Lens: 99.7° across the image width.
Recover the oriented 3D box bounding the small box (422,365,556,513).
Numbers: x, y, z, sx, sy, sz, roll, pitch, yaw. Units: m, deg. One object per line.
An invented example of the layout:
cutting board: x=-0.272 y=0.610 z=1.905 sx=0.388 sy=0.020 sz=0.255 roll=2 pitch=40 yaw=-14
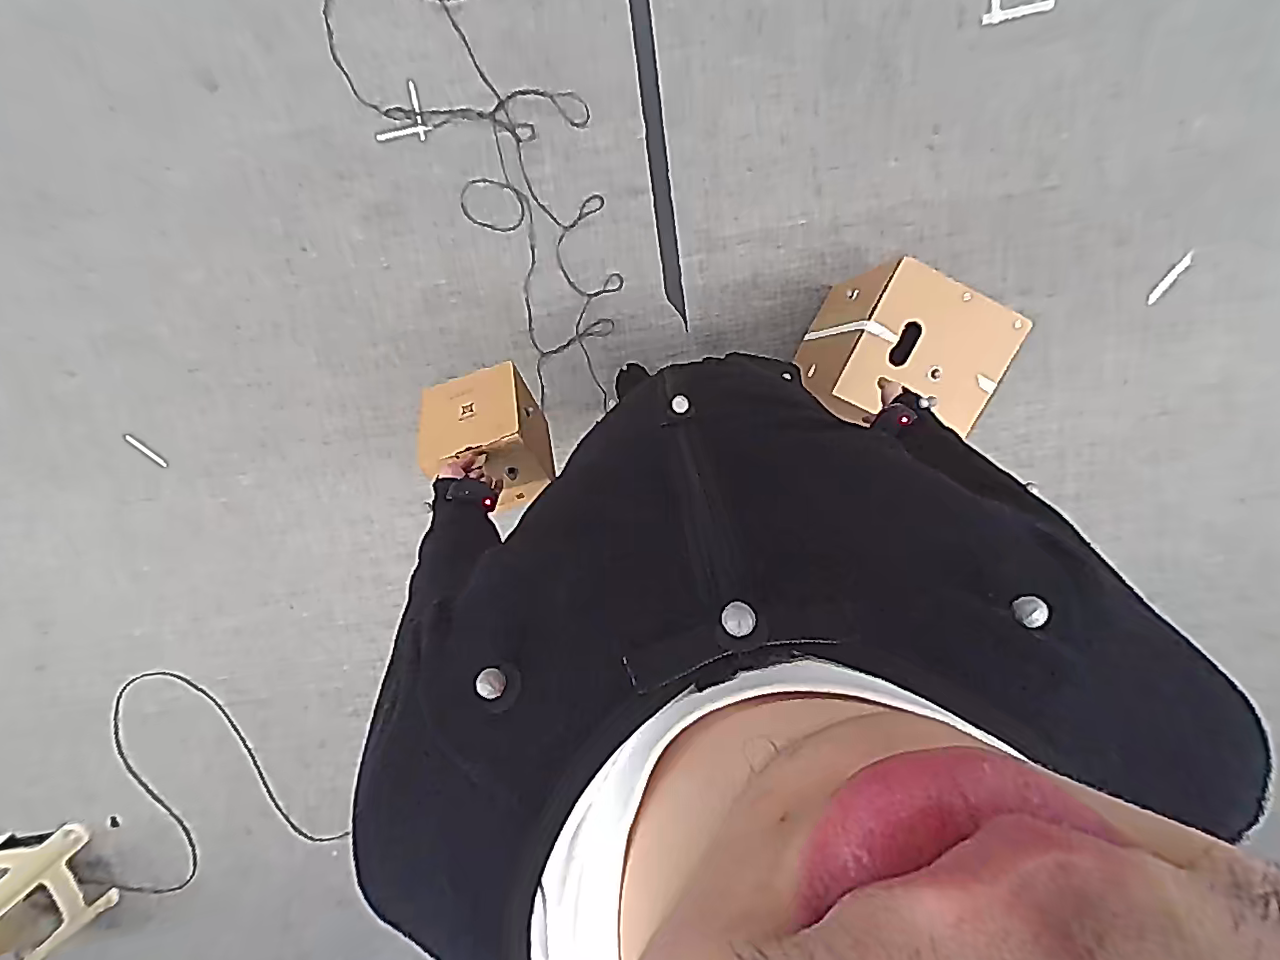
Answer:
small box: x=-0.256 y=-0.062 z=0.940 sx=0.168 sy=0.179 sz=0.176 roll=-18 pitch=142 yaw=3
